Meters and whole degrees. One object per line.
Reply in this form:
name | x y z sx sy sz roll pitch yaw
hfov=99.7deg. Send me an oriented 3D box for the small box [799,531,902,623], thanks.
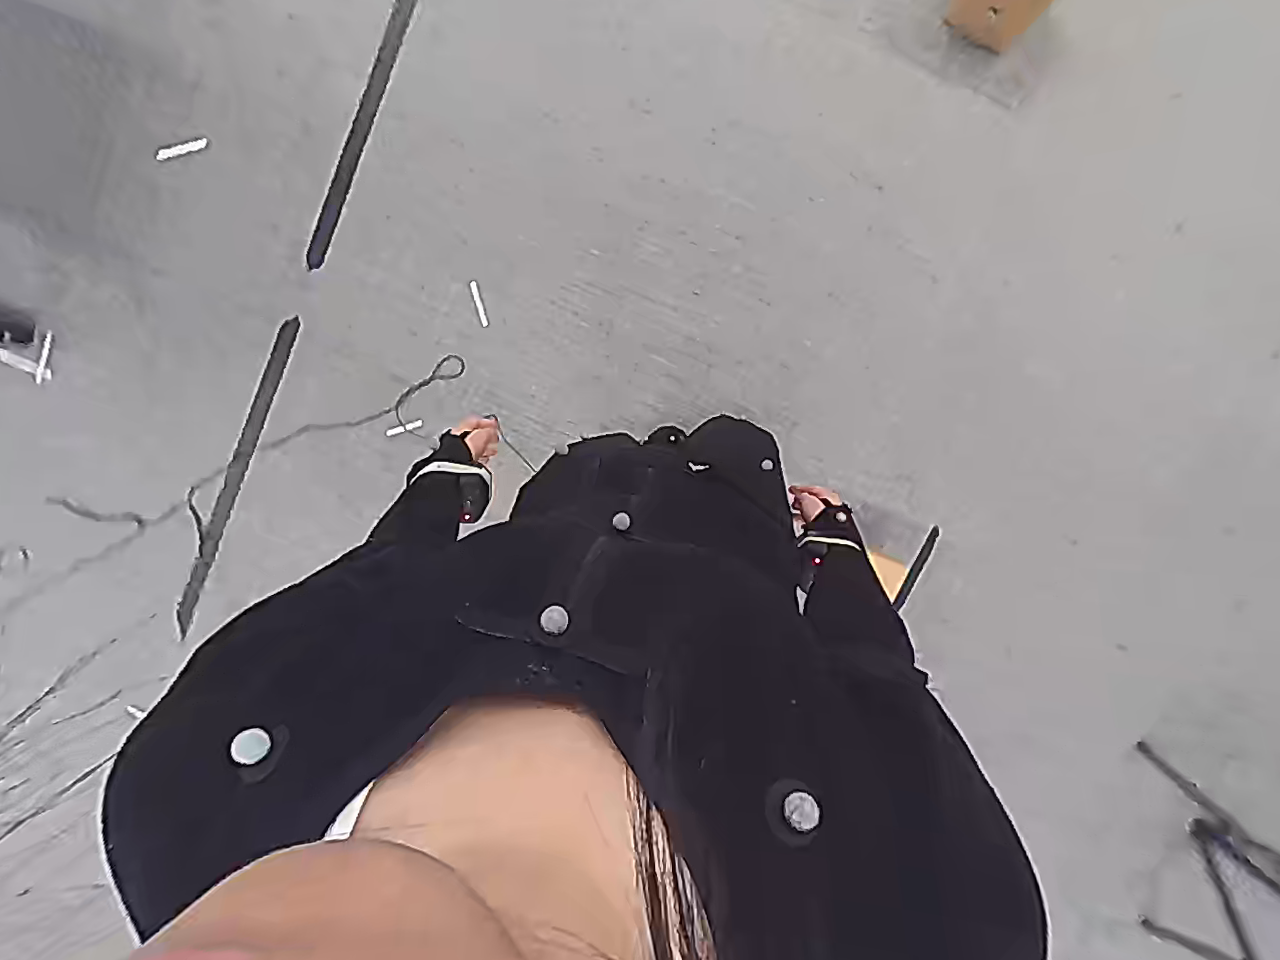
small box | 0.546 0.247 1.434 0.179 0.176 0.168 22 99 -3
